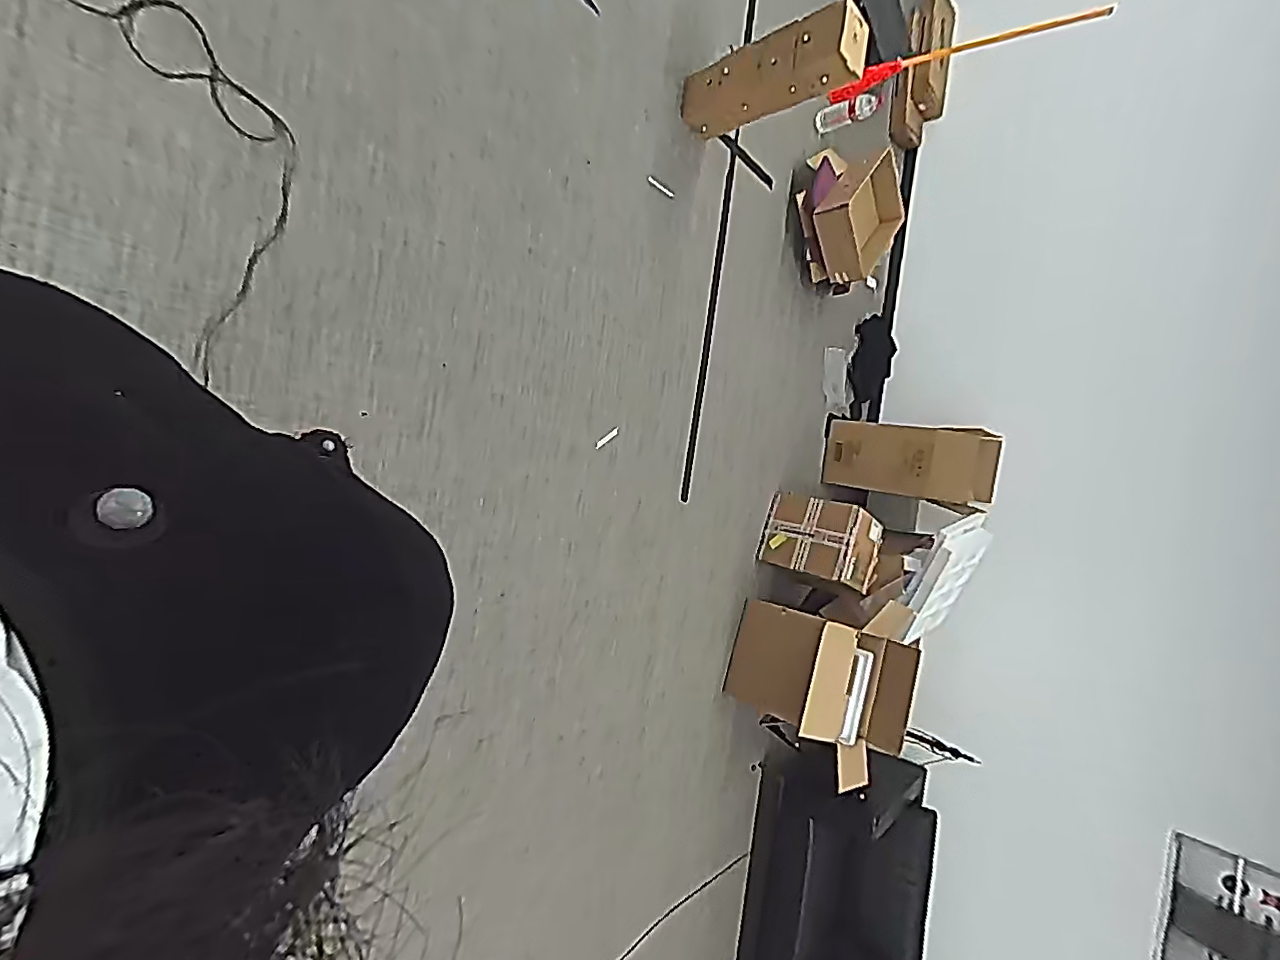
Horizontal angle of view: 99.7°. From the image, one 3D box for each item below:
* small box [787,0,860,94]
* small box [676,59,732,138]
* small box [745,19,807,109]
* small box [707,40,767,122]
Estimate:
[{"bbox_3d":[0.614,-1.454,1.822,0.168,0.176,0.179,6,93,-46],"label":"small box"},{"bbox_3d":[0.264,-1.515,2.160,0.168,0.176,0.179,8,91,-46],"label":"small box"},{"bbox_3d":[0.495,-1.475,1.933,0.179,0.176,0.168,6,93,-47],"label":"small box"},{"bbox_3d":[0.378,-1.495,2.043,0.179,0.176,0.168,7,91,-46],"label":"small box"}]
